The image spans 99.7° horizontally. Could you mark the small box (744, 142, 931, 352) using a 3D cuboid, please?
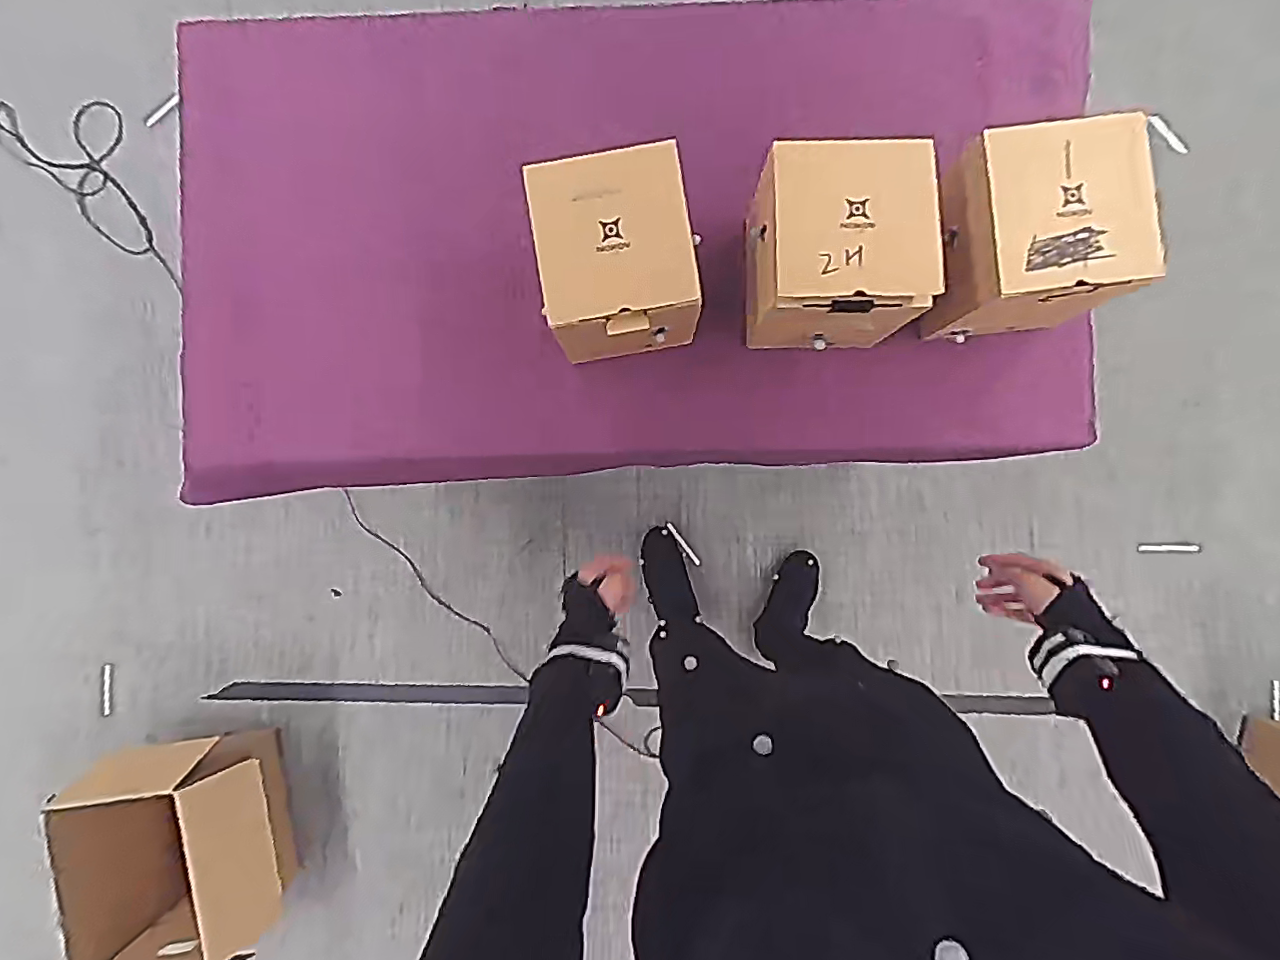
[{"bbox_3d":[0.218,-0.260,0.636,0.168,0.176,0.179,0,89,1],"label":"small box"}]

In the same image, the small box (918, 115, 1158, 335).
[{"bbox_3d":[0.437,-0.277,0.631,0.168,0.176,0.179,-6,88,2],"label":"small box"}]

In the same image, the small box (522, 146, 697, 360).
[{"bbox_3d":[-0.029,-0.251,0.644,0.168,0.176,0.179,-10,89,1],"label":"small box"}]
